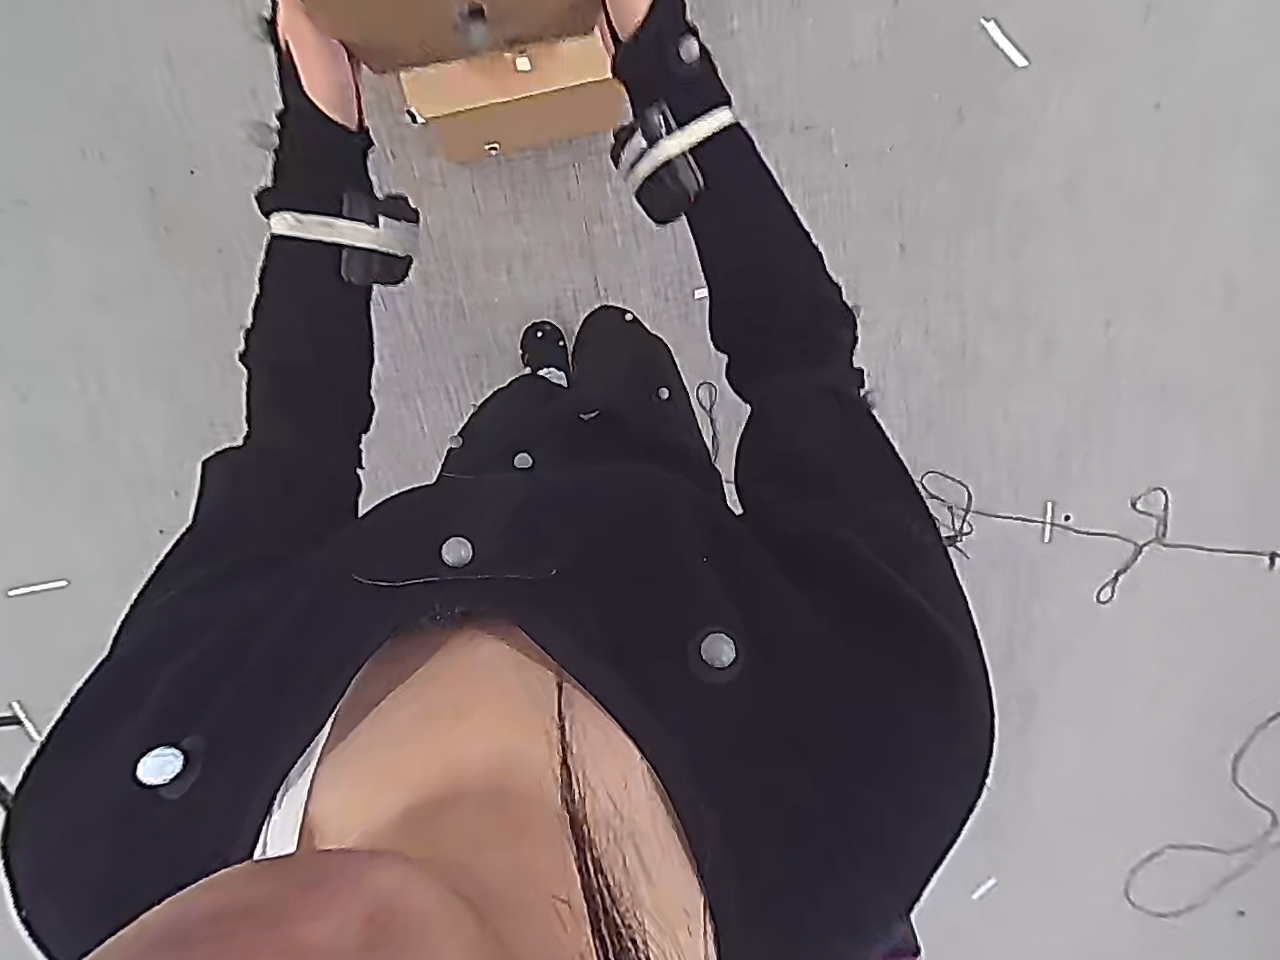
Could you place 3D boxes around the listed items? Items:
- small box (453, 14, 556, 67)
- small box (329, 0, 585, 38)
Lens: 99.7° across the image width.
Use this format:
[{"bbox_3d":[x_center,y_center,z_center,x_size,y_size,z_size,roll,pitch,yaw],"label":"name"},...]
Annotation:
[{"bbox_3d":[-0.234,-0.801,0.853,0.168,0.176,0.179,-14,109,-2],"label":"small box"},{"bbox_3d":[-0.115,-0.363,0.278,0.168,0.176,0.179,-14,116,-4],"label":"small box"}]
